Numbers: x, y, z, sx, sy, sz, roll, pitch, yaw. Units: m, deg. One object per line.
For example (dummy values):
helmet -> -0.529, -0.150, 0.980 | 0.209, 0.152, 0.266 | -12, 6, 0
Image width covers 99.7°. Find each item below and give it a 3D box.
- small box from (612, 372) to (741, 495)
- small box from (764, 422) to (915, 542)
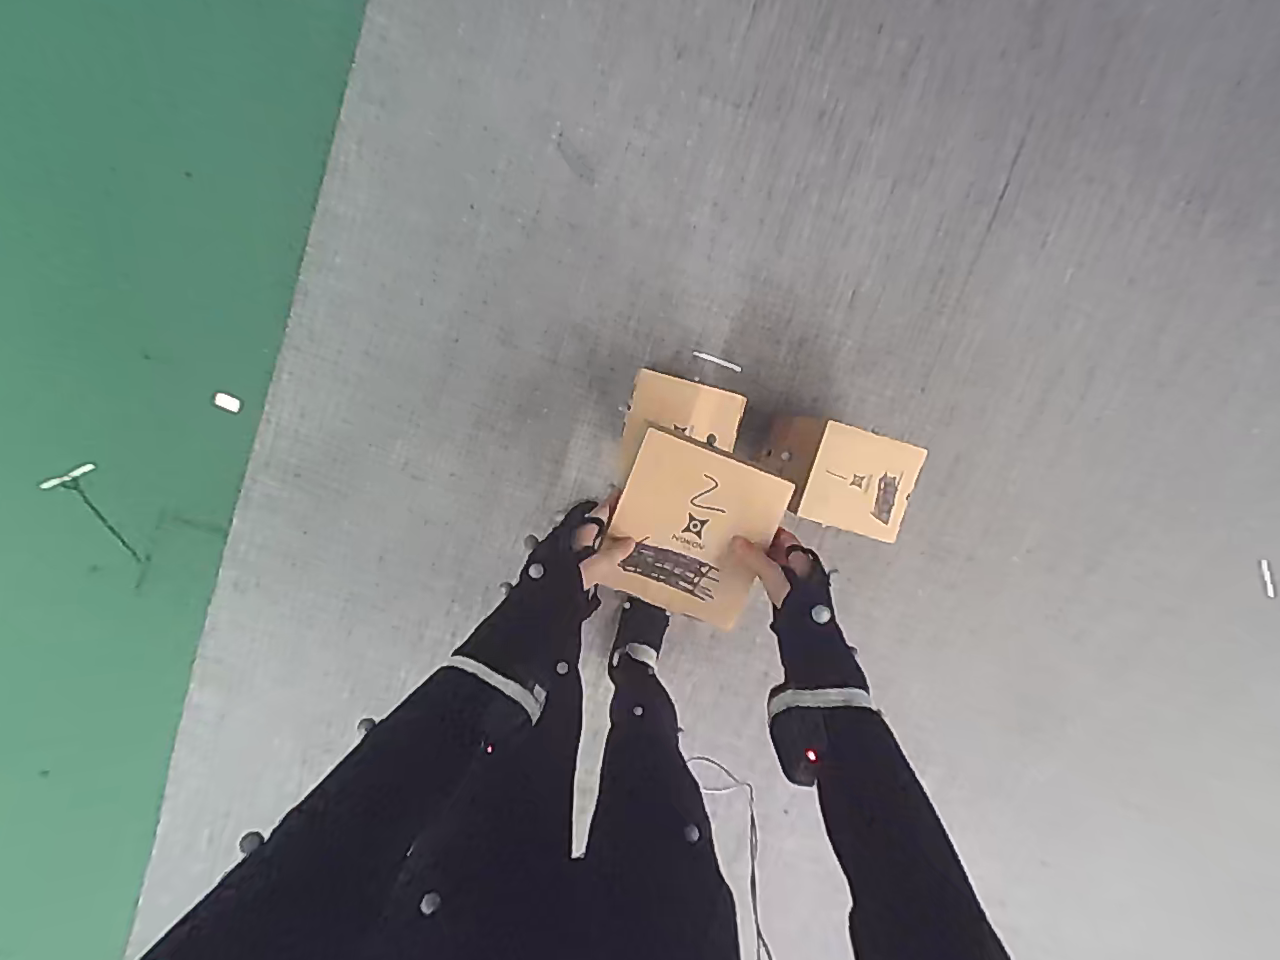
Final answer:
small box -> 0.056, -0.085, 0.952 | 0.179, 0.176, 0.168 | 15, 96, -3
small box -> 0.347, -0.005, 0.972 | 0.179, 0.176, 0.168 | 17, 96, -3
